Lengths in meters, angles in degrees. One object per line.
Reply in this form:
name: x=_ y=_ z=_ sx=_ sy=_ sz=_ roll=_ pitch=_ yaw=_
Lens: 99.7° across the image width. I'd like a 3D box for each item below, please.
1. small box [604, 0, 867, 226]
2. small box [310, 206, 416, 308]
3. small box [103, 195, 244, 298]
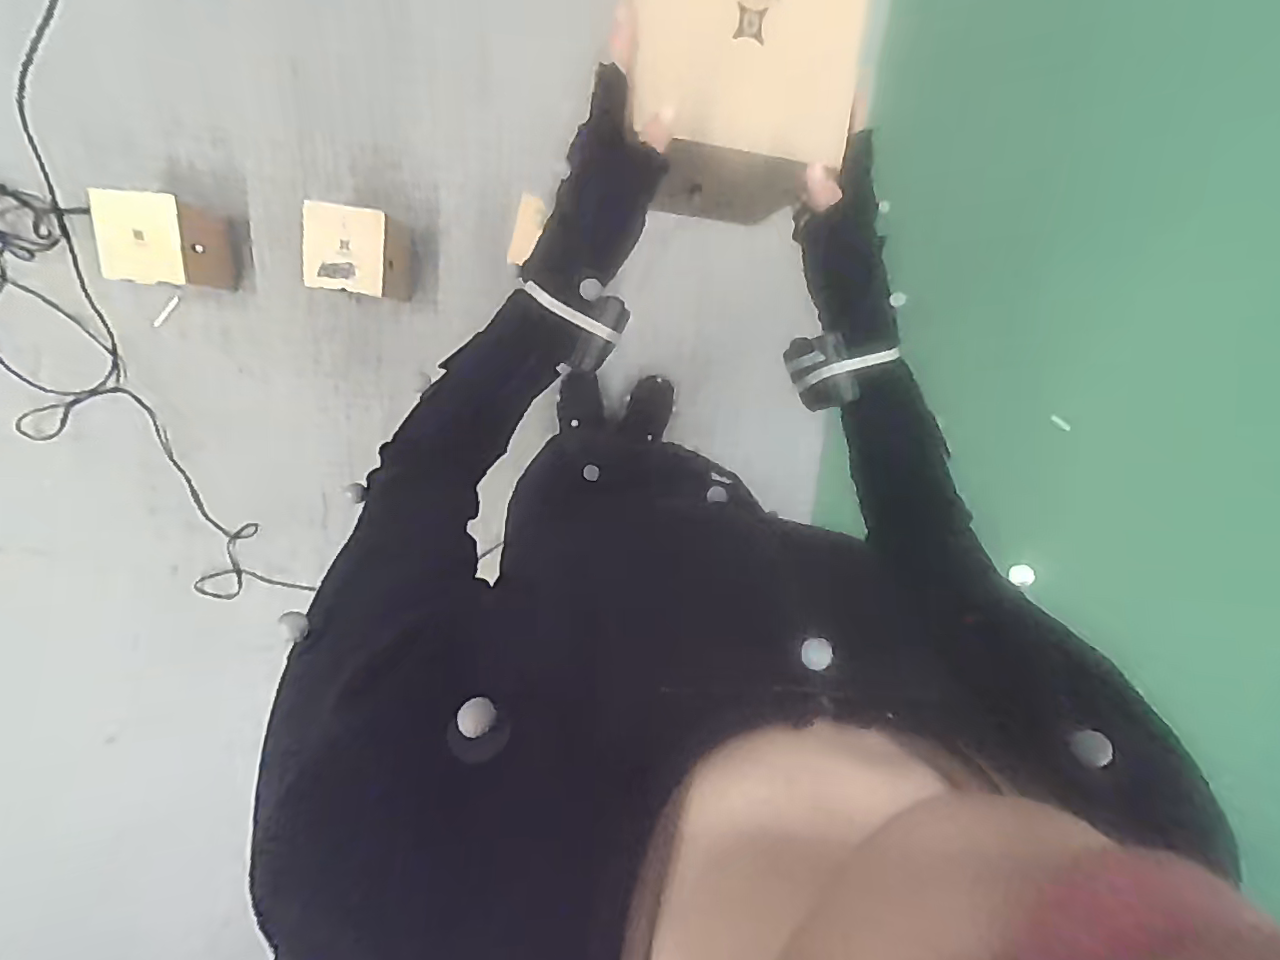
small box: x=0.063 y=-0.329 z=0.447 sx=0.168 sy=0.176 sz=0.179 roll=4 pitch=100 yaw=-11
small box: x=-0.623 y=-0.496 z=1.232 sx=0.168 sy=0.176 sz=0.179 roll=7 pitch=102 yaw=-5
small box: x=-1.025 y=-0.510 z=1.202 sx=0.168 sy=0.176 sz=0.179 roll=2 pitch=103 yaw=-4
